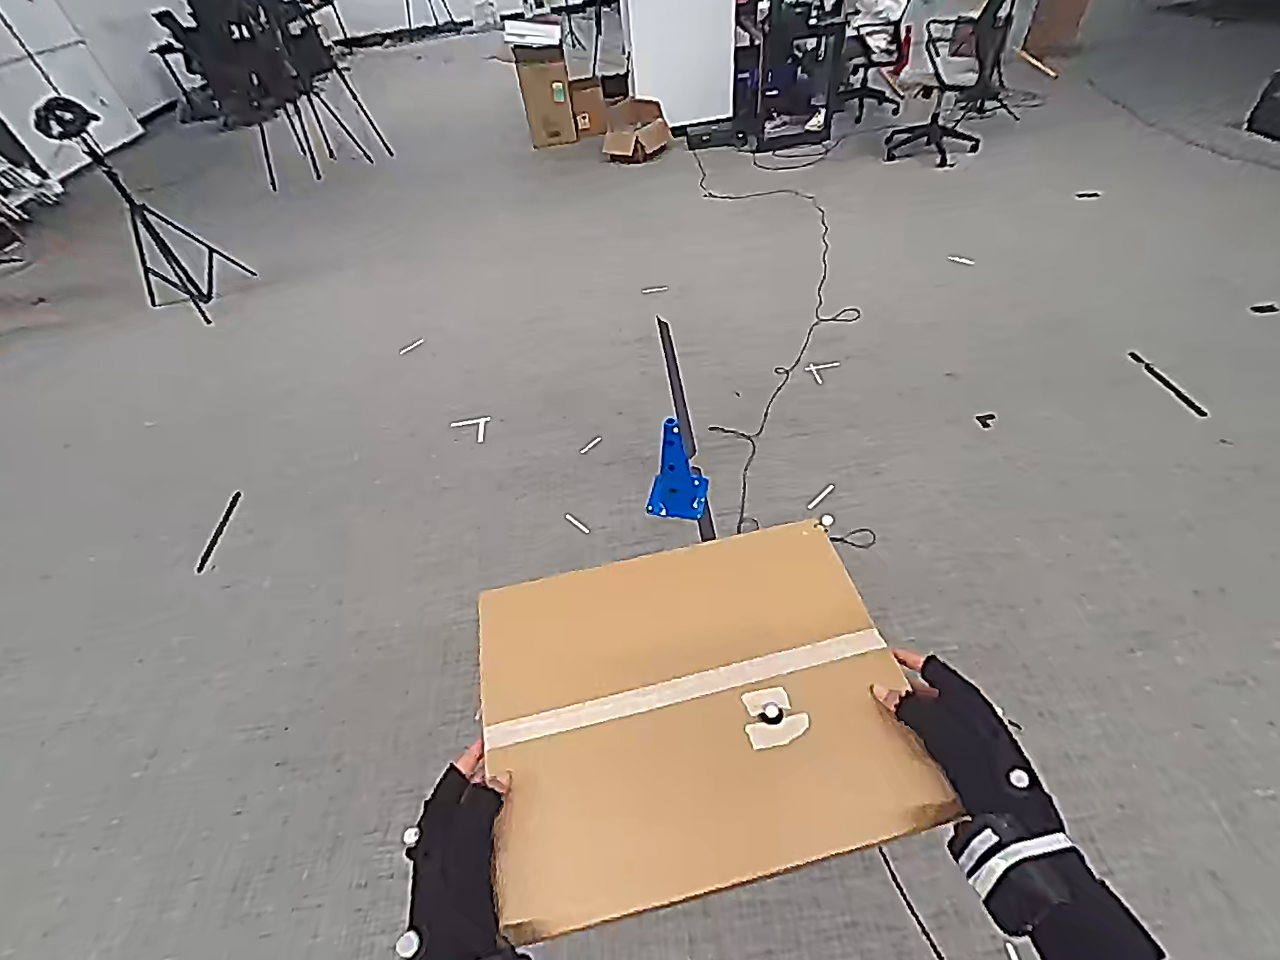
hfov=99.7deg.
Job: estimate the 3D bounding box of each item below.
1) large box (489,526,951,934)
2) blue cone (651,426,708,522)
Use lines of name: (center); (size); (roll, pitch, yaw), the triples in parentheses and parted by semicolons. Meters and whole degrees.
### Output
large box: (0.059, 0.305, 0.662); (0.408, 0.320, 0.320); (-12, 52, -5)
blue cone: (0.124, -0.042, 1.842); (0.193, 0.380, 0.192); (6, 50, 16)
